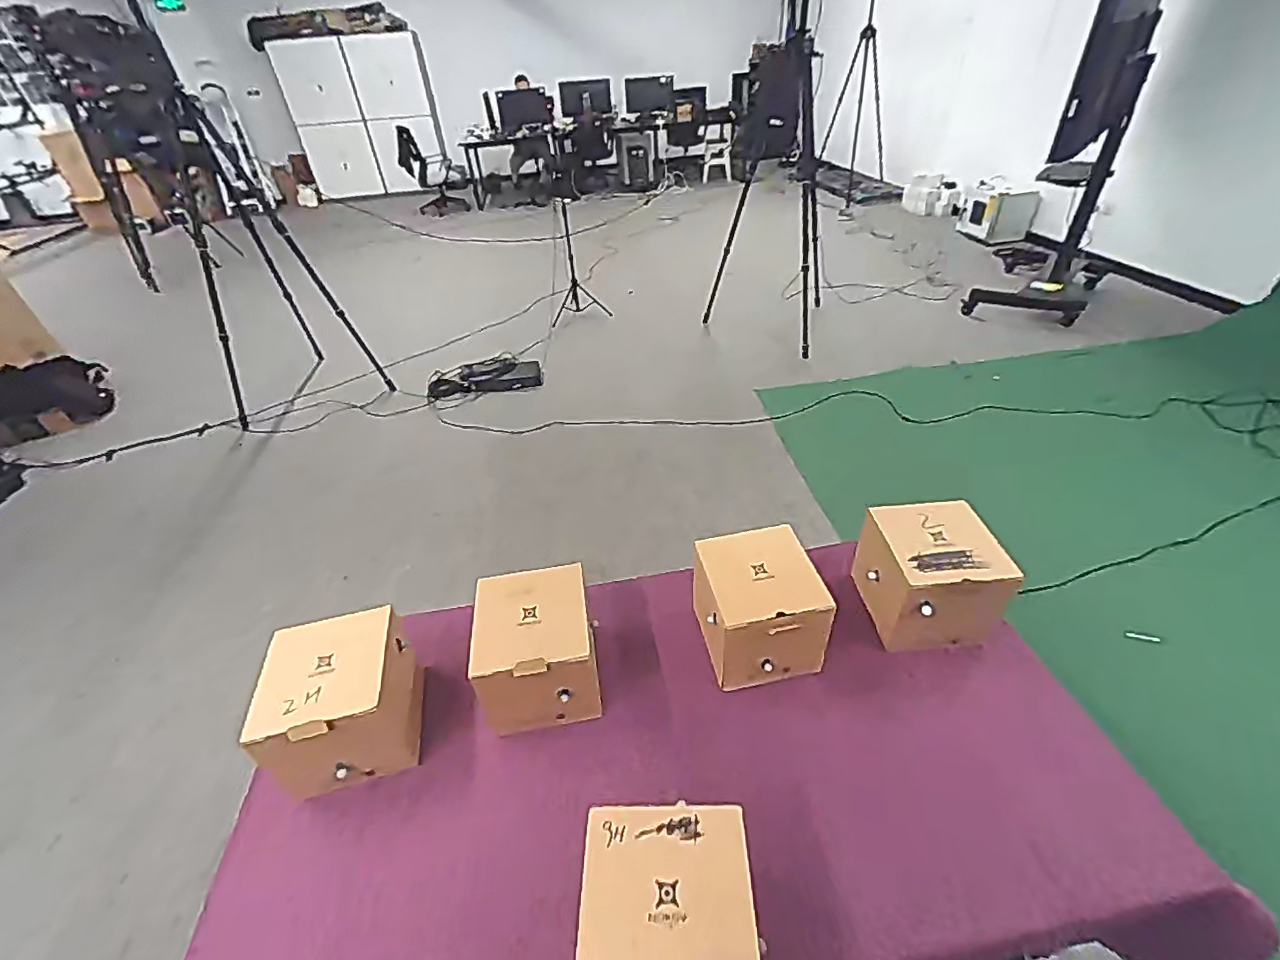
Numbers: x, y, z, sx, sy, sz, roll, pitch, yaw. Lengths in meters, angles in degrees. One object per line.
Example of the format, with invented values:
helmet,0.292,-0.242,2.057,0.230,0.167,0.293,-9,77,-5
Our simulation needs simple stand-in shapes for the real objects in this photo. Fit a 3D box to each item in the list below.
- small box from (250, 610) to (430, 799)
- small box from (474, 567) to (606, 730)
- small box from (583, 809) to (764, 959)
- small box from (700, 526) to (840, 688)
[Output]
small box,-0.419,0.326,0.793,0.168,0.176,0.179,-12,39,-8
small box,-0.148,0.264,0.838,0.168,0.176,0.179,-8,39,-5
small box,0.038,0.468,0.556,0.168,0.176,0.179,-3,38,3
small box,0.194,0.203,0.872,0.168,0.176,0.179,-10,39,-6
